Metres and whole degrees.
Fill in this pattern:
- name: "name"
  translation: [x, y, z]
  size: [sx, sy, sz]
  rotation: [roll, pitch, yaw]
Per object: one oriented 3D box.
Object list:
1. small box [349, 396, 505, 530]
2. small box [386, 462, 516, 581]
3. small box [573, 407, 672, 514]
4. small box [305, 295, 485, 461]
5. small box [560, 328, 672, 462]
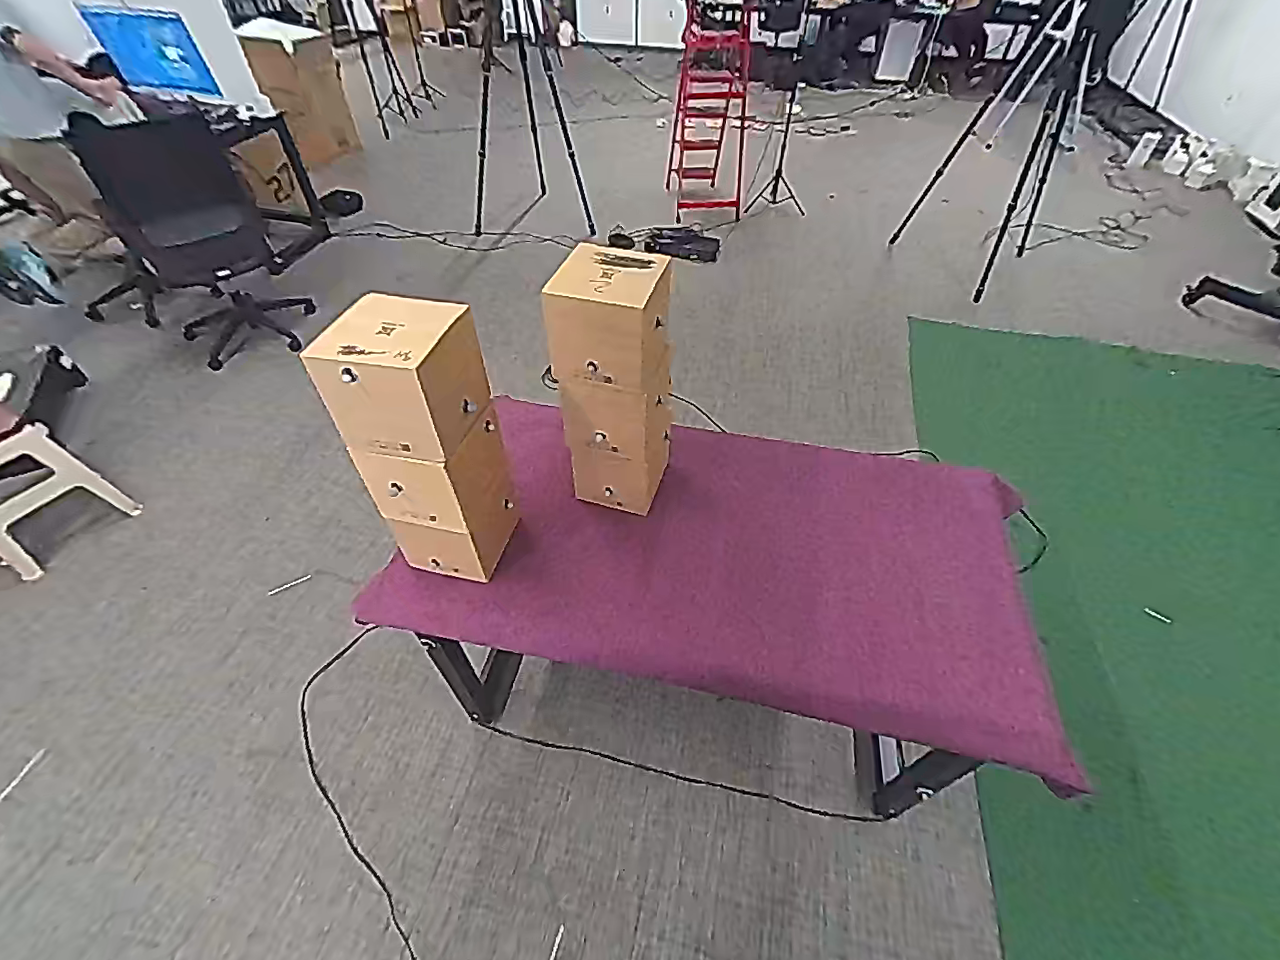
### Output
- name: "small box"
  translation: [-0.348, -0.037, 0.928]
  size: [0.168, 0.176, 0.179]
  rotation: [10, 46, 9]
- name: "small box"
  translation: [-0.353, 0.068, 1.051]
  size: [0.168, 0.176, 0.179]
  rotation: [10, 48, 9]
- name: "small box"
  translation: [-0.037, -0.058, 1.170]
  size: [0.168, 0.176, 0.179]
  rotation: [14, 50, 12]
- name: "small box"
  translation: [-0.347, -0.154, 0.812]
  size: [0.168, 0.176, 0.179]
  rotation: [8, 46, 8]
- name: "small box"
  translation: [-0.043, -0.165, 1.046]
  size: [0.168, 0.176, 0.179]
  rotation: [13, 50, 10]
